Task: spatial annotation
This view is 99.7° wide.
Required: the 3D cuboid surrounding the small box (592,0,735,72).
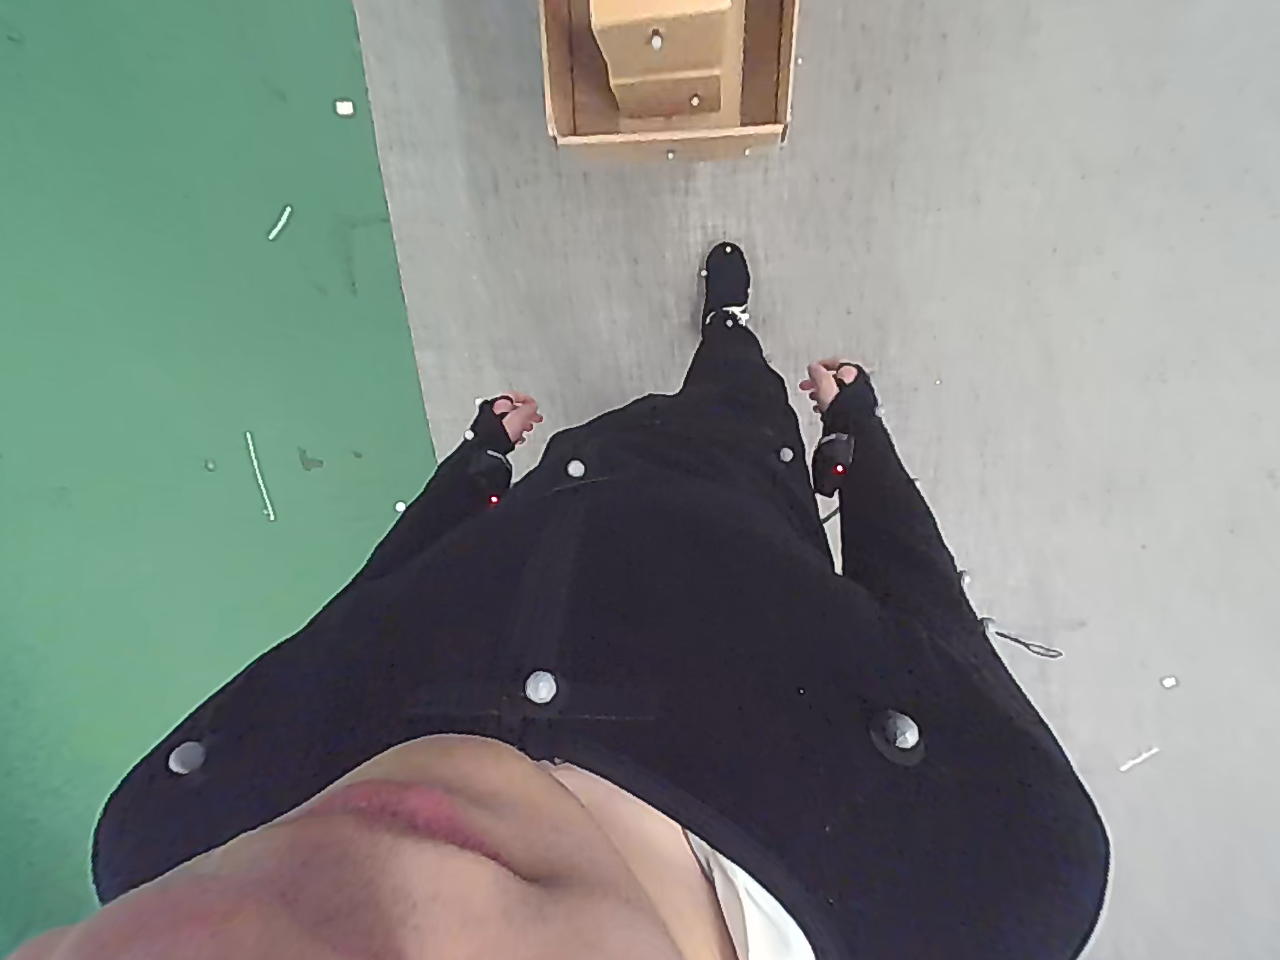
[{"bbox_3d":[0.035,-0.671,0.711,0.179,0.176,0.168,0,108,9],"label":"small box"}]
